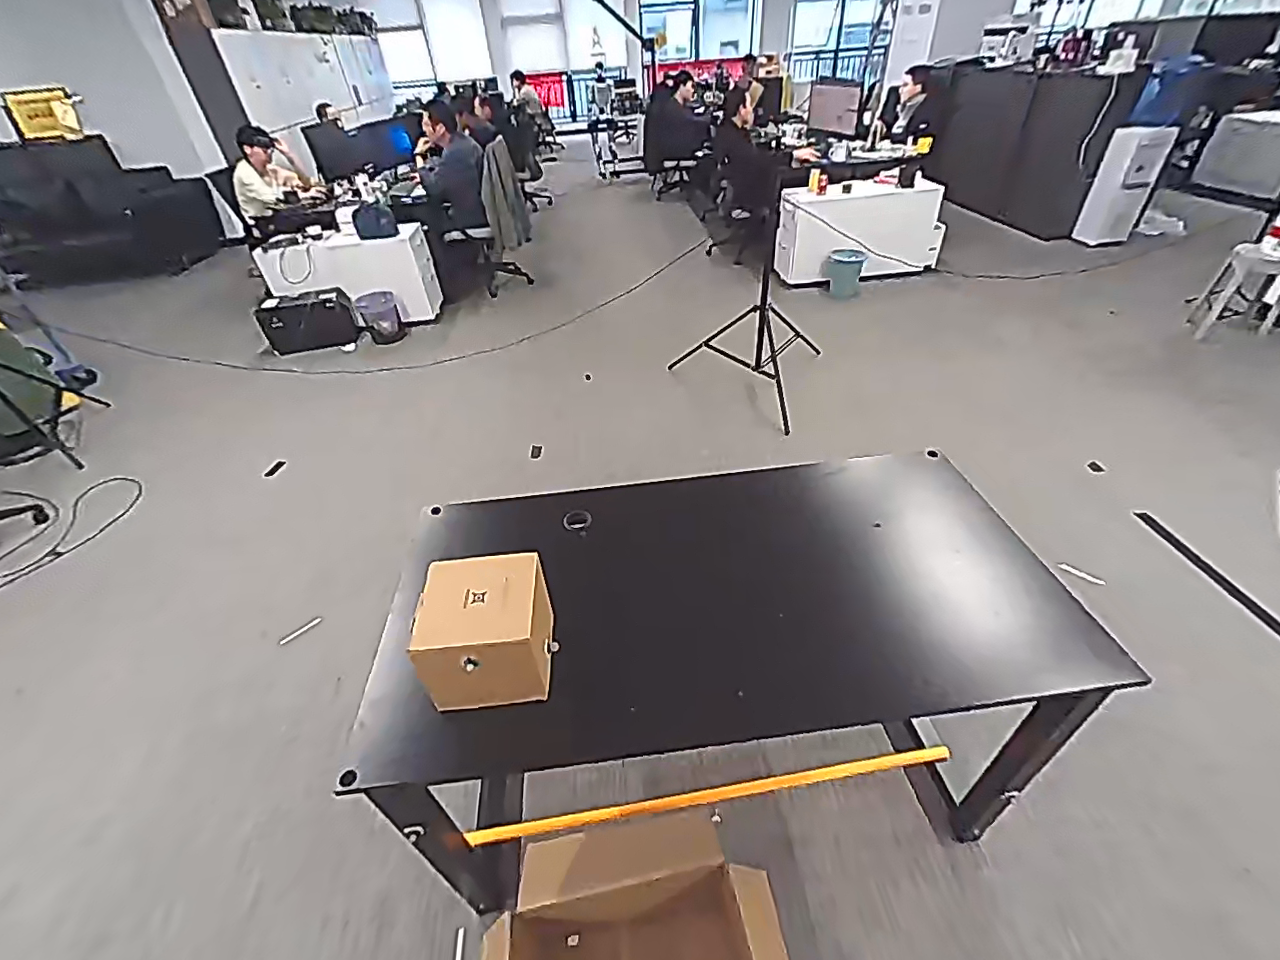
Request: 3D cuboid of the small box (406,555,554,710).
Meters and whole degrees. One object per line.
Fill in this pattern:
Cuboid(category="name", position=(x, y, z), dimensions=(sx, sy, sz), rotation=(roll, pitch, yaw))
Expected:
Cuboid(category="small box", position=(-0.238, 0.242, 0.851), dimensions=(0.179, 0.176, 0.168), rotation=(-6, 40, -3))
